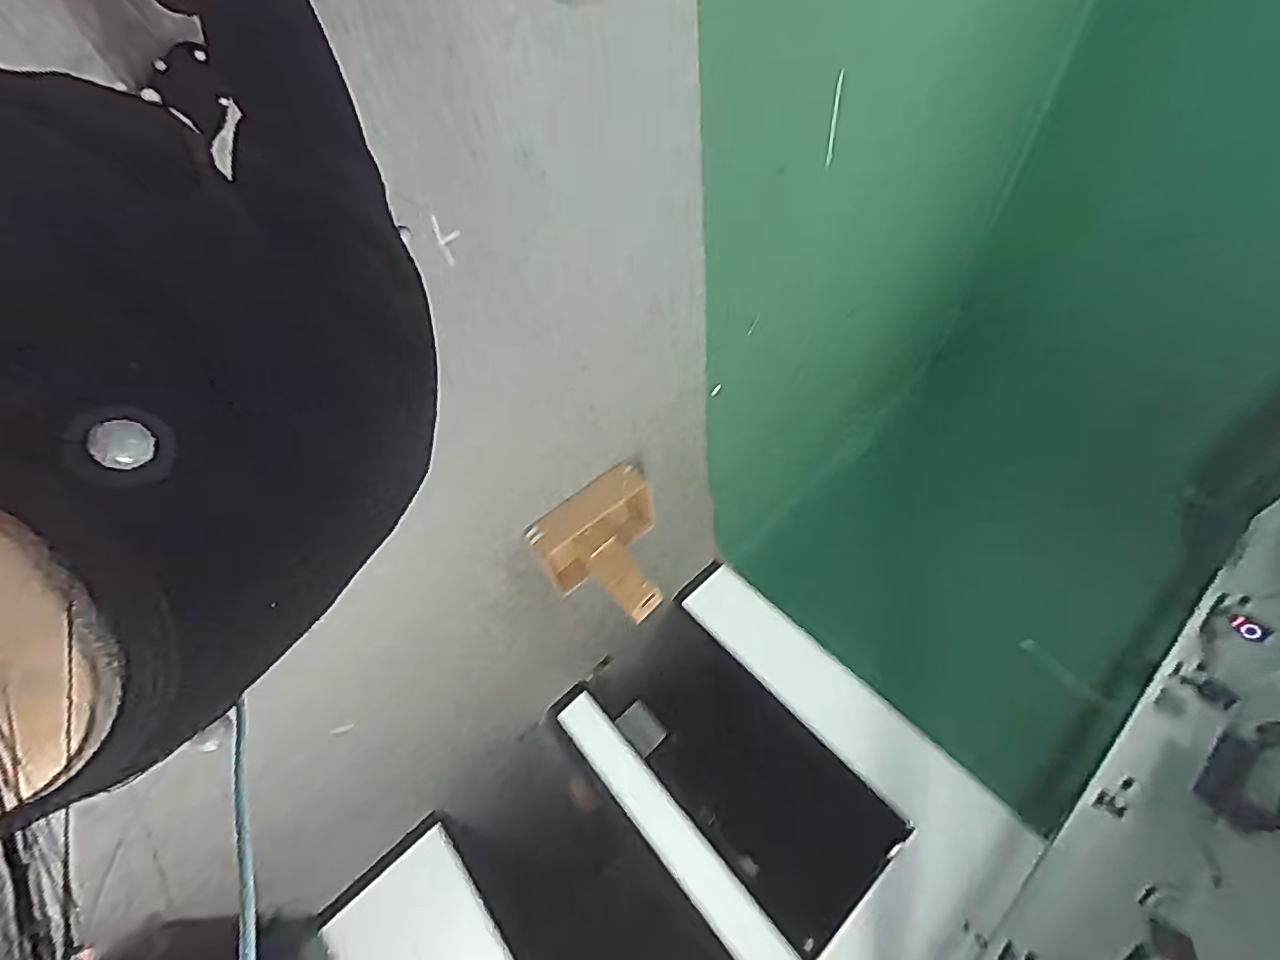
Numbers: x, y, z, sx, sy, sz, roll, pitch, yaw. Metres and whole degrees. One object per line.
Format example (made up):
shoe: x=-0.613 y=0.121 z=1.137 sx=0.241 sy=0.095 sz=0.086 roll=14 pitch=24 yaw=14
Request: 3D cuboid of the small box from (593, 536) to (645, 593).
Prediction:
small box: x=-0.103 y=0.405 z=2.613 sx=0.179 sy=0.176 sz=0.168 roll=-40 pitch=147 yaw=-18

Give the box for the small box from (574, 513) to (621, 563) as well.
small box: x=-0.206 y=0.299 z=2.686 sx=0.168 sy=0.176 sz=0.179 roll=-38 pitch=146 yaw=-21
